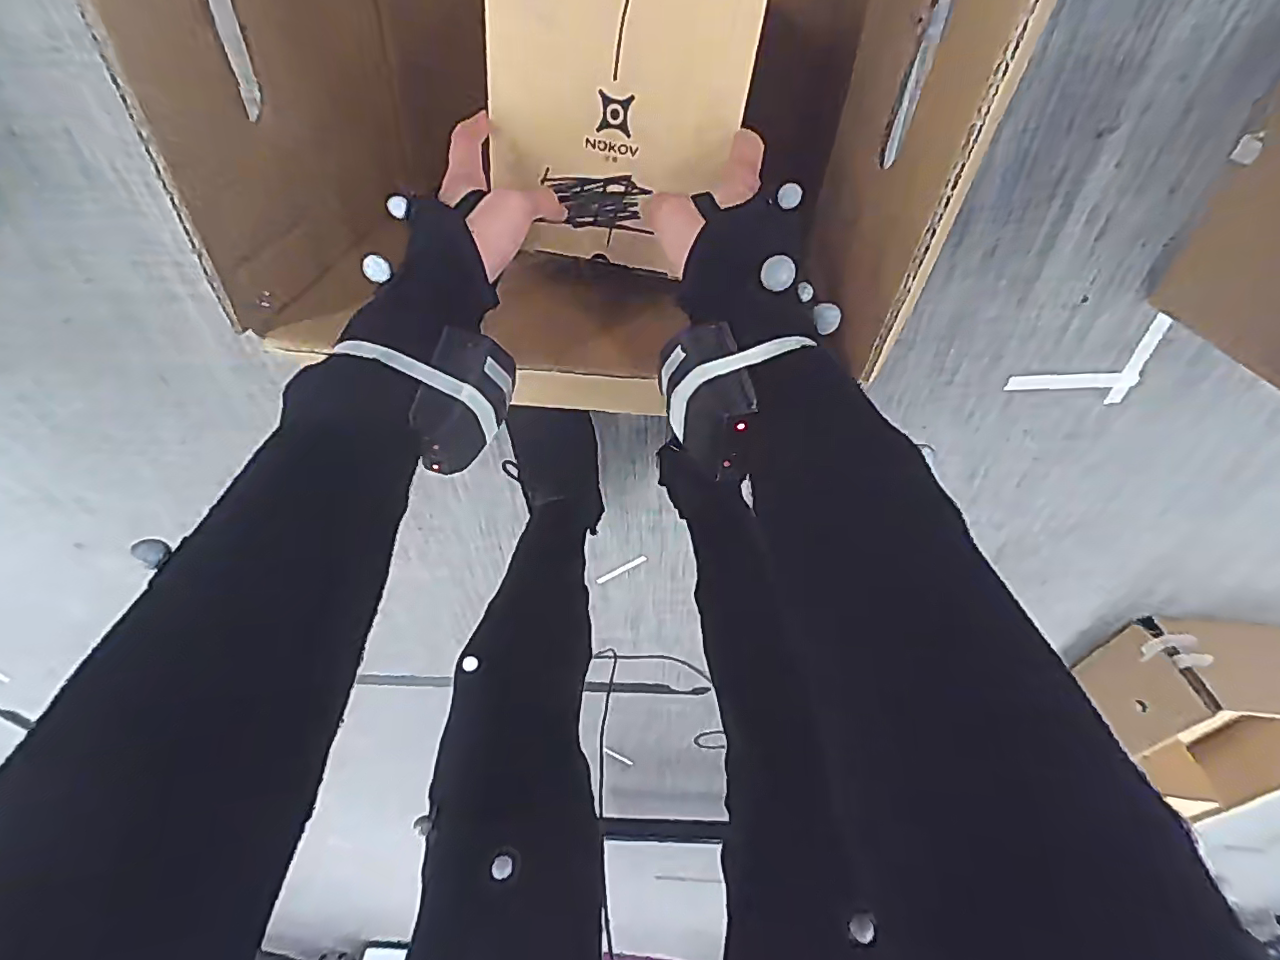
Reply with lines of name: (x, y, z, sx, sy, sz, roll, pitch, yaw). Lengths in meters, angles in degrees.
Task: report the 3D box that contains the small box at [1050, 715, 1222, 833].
small box: (1.040, 0.624, 1.155, 0.179, 0.176, 0.168, 12, 132, -7)
